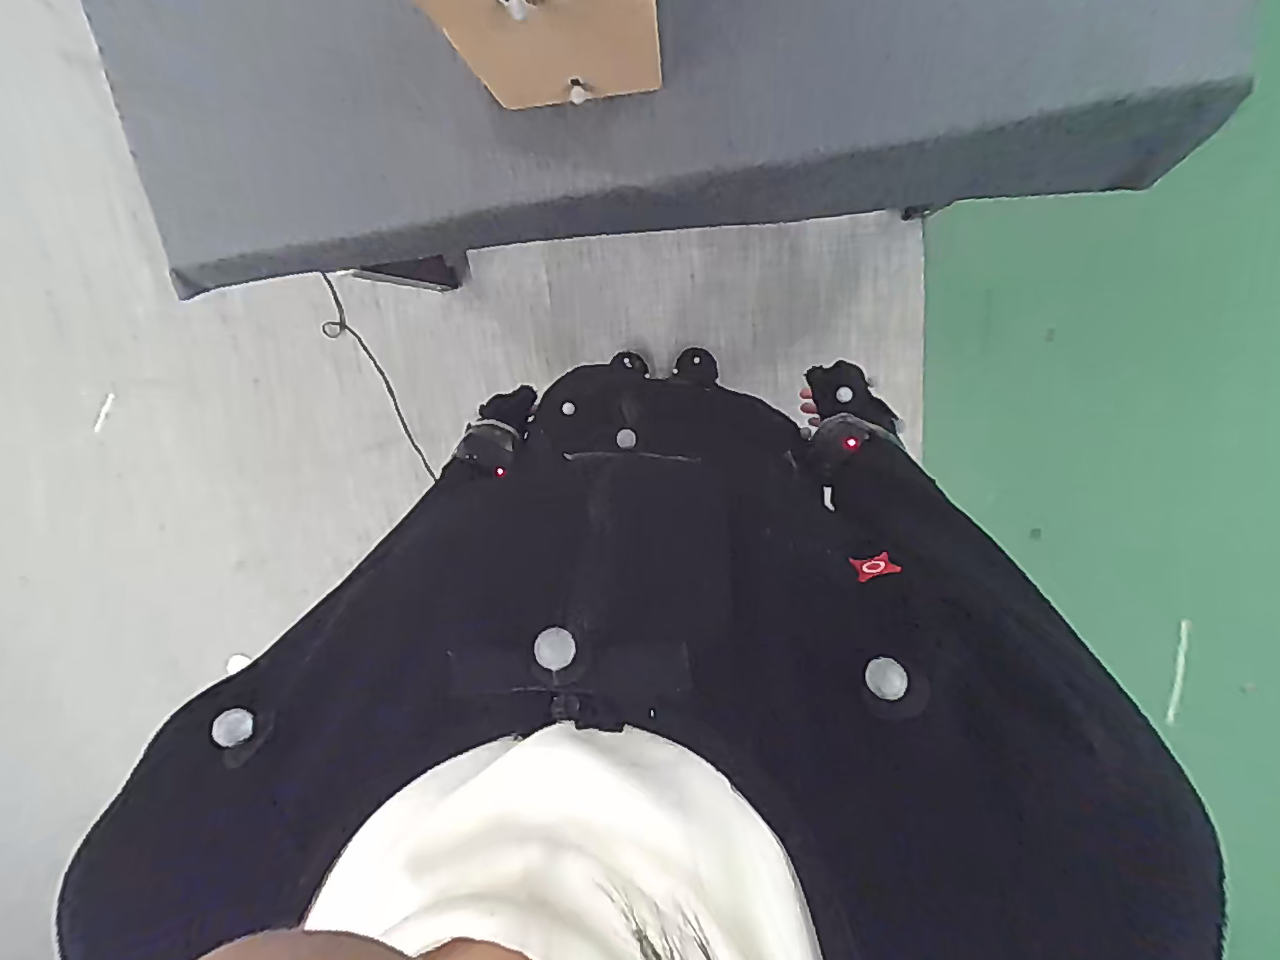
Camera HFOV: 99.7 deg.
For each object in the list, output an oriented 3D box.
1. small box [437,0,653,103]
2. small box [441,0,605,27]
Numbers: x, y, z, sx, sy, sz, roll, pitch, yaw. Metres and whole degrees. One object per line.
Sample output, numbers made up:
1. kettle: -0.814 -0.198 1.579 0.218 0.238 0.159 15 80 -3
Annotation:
1. small box: -0.081 -0.479 0.494 0.179 0.176 0.168 -4 104 6
2. small box: -0.097 -0.440 0.337 0.168 0.176 0.179 -6 105 8
